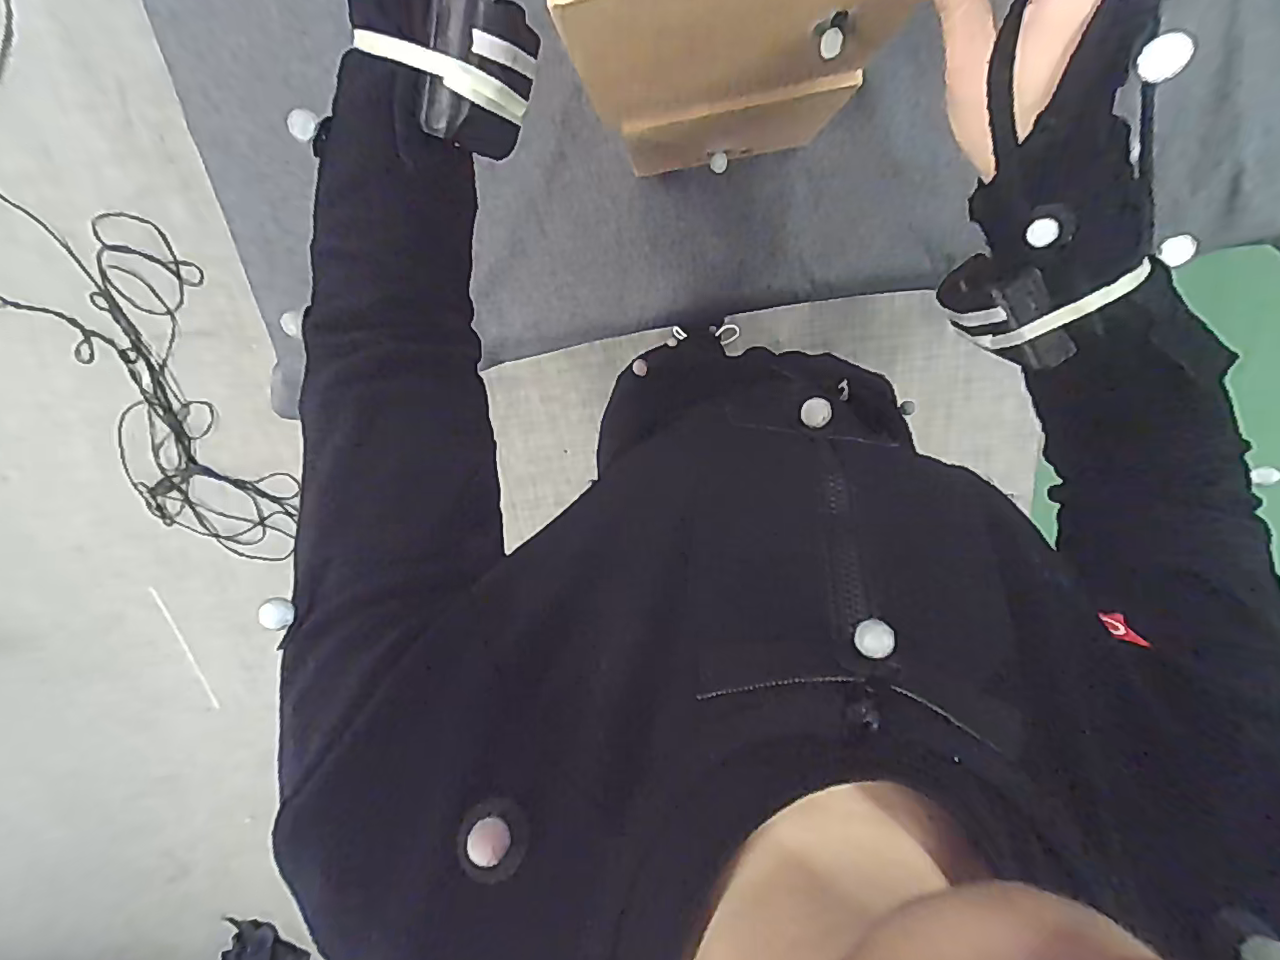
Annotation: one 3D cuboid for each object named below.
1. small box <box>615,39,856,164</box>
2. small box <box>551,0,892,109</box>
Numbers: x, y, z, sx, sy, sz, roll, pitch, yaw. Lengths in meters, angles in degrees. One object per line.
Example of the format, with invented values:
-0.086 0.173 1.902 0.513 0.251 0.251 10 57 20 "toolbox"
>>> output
0.055 -0.367 0.412 0.168 0.176 0.179 -7 110 7 "small box"
0.039 -0.309 0.257 0.179 0.176 0.168 -8 108 7 "small box"
